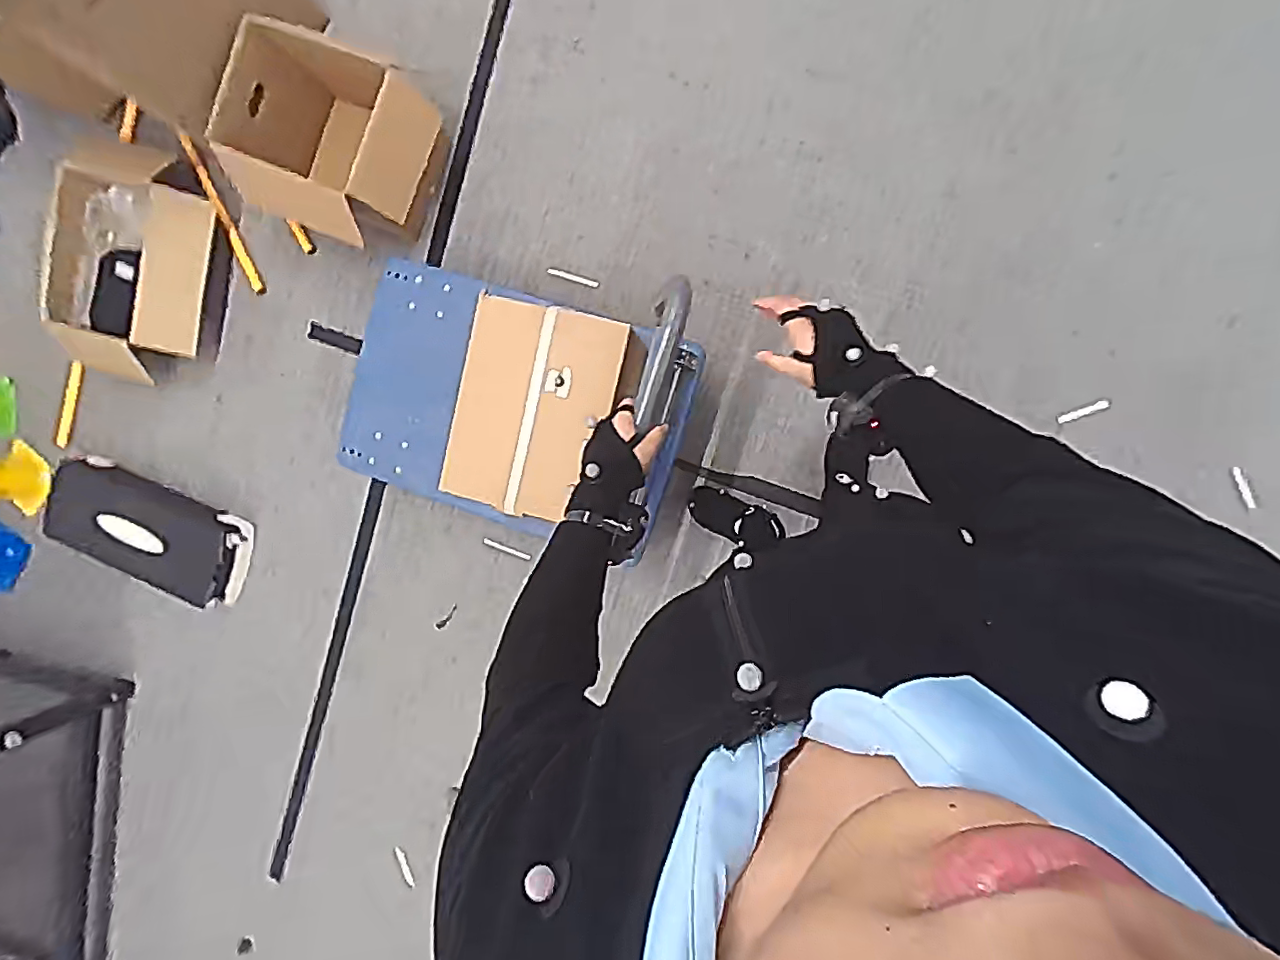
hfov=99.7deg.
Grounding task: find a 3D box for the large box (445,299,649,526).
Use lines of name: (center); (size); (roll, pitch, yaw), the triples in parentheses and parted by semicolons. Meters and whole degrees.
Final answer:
large box: (-0.187, -0.137, 1.210); (0.320, 0.320, 0.408); (14, 94, 7)
